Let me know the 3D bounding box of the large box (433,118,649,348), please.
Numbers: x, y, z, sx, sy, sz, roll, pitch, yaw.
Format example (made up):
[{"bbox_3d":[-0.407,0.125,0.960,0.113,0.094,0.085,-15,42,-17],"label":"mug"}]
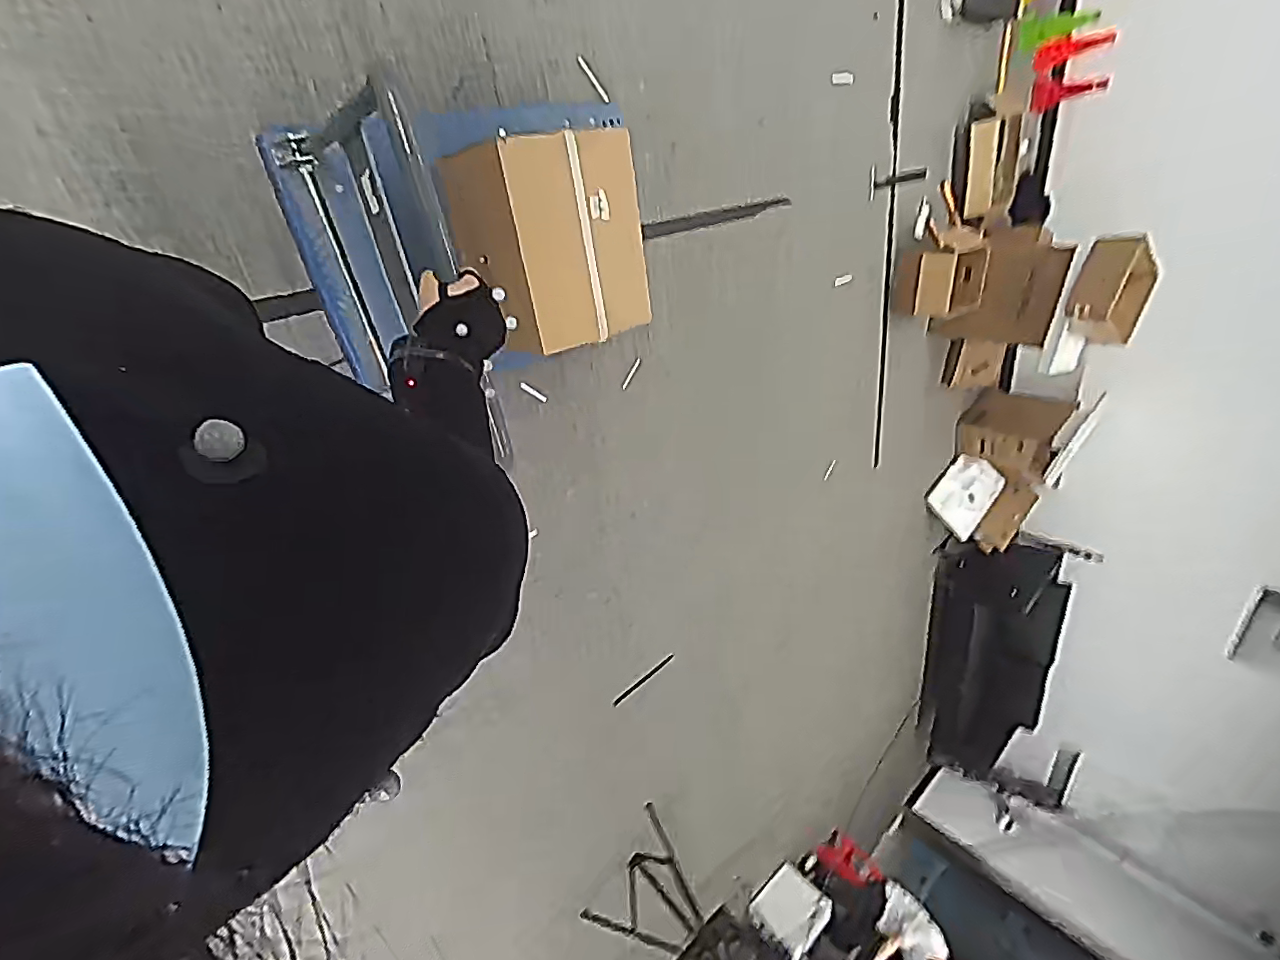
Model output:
[{"bbox_3d":[-0.217,-0.549,1.231,0.320,0.320,0.408,-28,122,-32],"label":"large box"}]
